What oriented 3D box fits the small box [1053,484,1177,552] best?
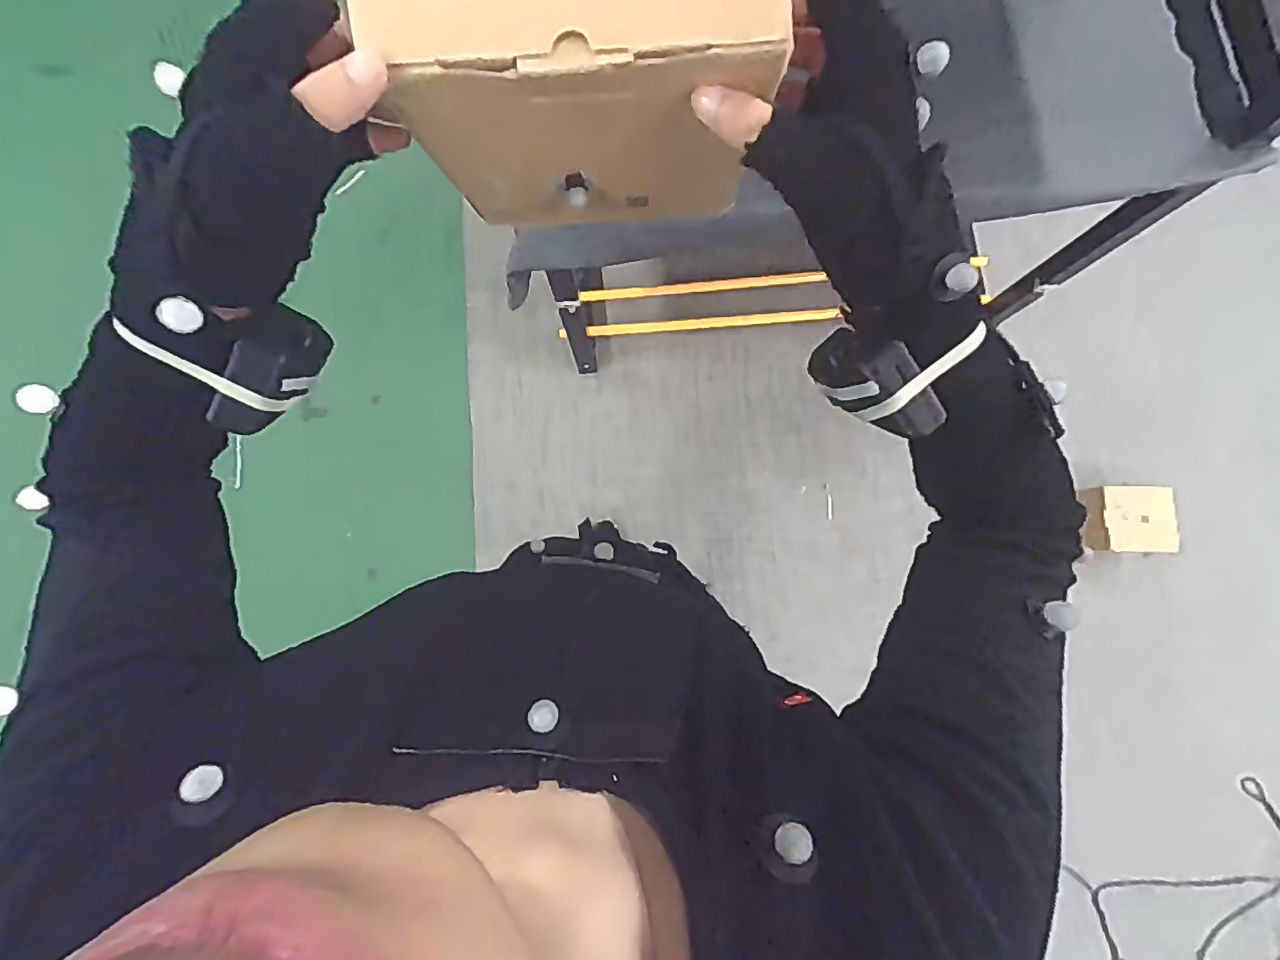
[{"bbox_3d":[1.246,0.103,1.429,0.179,0.176,0.168,1,81,0],"label":"small box"}]
